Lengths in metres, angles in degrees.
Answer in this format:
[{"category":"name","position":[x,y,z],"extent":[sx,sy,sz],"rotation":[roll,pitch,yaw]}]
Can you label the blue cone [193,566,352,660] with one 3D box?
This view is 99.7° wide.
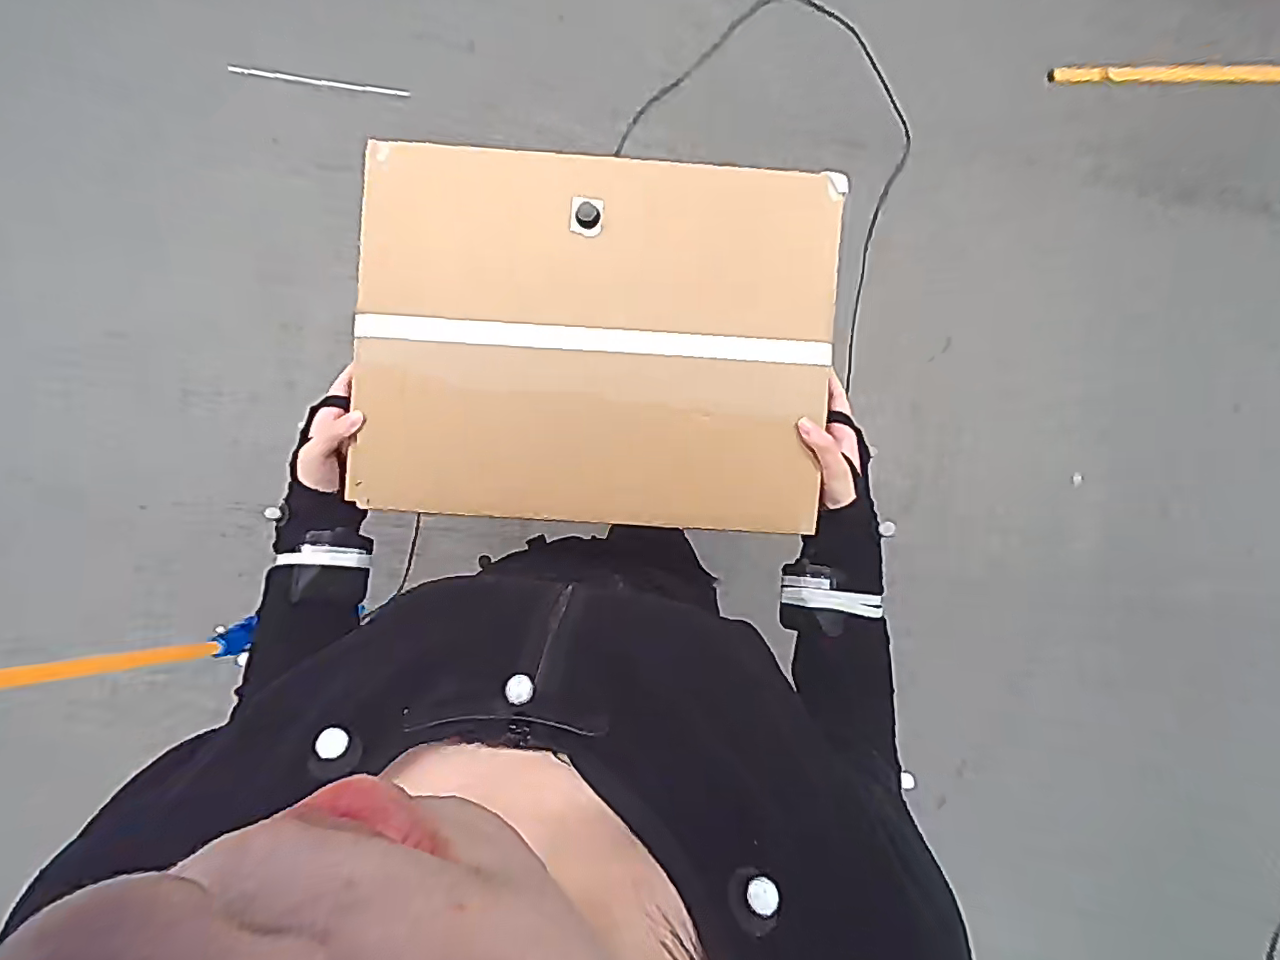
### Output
[{"category":"blue cone","position":[-0.846,0.336,1.223],"extent":[0.192,0.380,0.193],"rotation":[40,86,-1]}]
